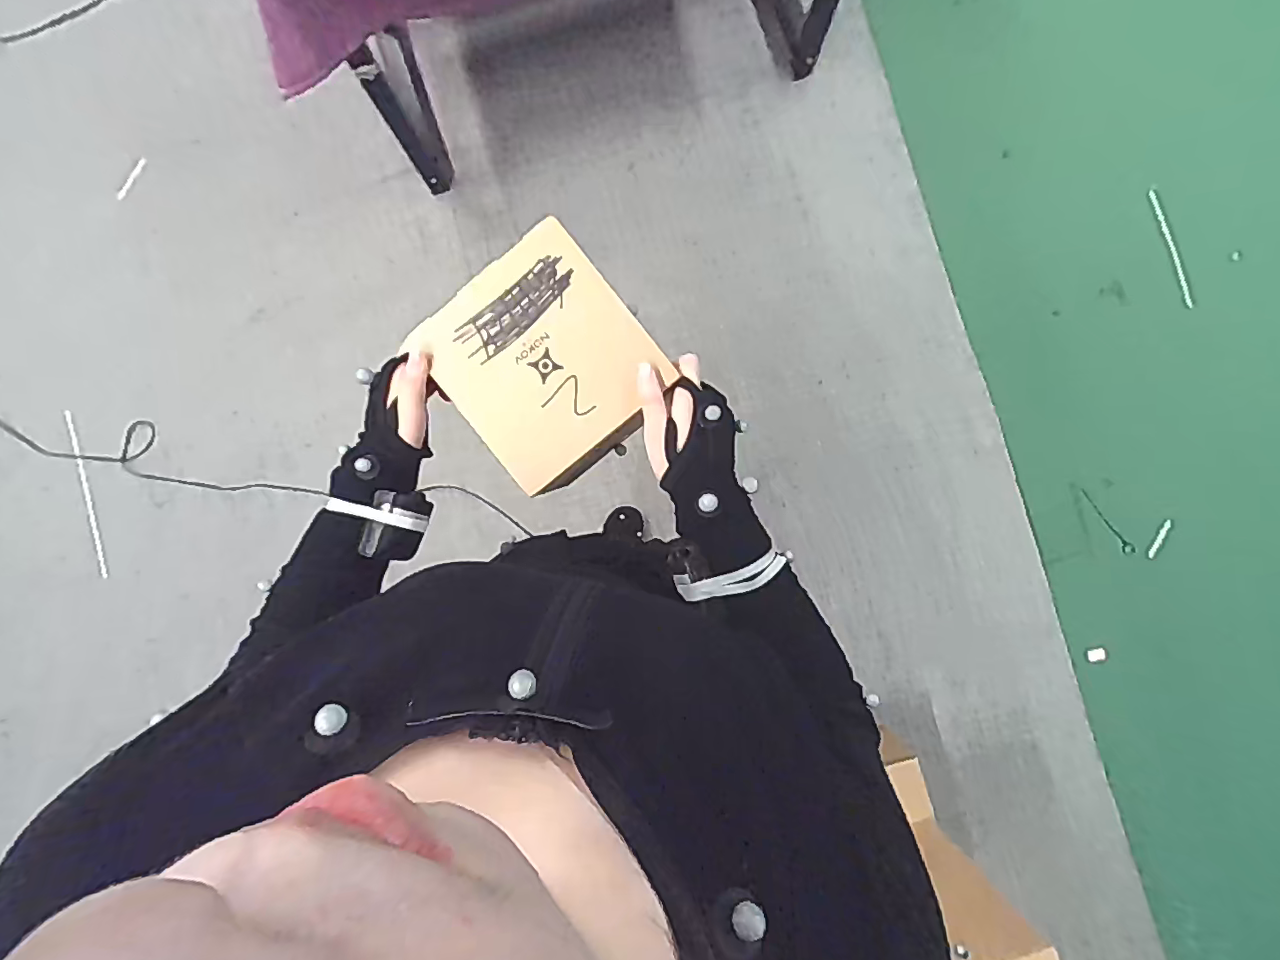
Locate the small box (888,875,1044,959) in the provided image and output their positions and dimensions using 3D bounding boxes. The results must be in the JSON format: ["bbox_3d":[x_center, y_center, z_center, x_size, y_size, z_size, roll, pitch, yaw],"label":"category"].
[{"bbox_3d":[0.566,0.831,0.930,0.179,0.176,0.168,-16,89,-1],"label":"small box"}]
